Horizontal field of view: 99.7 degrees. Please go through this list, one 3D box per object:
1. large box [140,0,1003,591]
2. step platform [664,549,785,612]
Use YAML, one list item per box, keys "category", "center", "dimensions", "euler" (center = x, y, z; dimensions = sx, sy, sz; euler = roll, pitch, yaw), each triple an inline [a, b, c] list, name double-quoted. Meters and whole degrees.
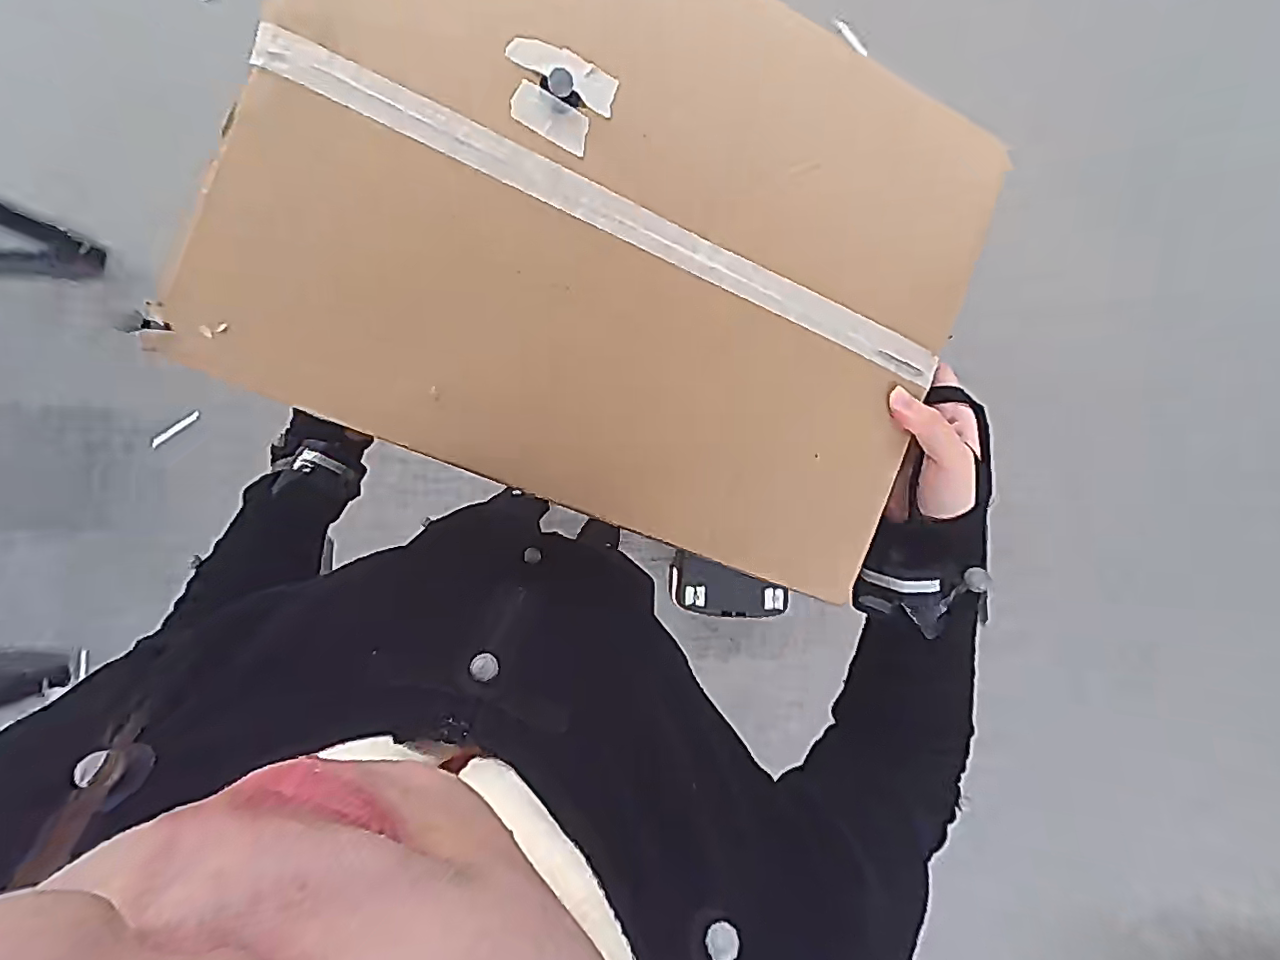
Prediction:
- category: "large box"
  center: [-0.033, -0.144, 0.441]
  dimensions: [0.408, 0.320, 0.320]
  euler: [20, 88, -11]
- category: "step platform"
  center: [0.255, -0.006, 1.408]
  dimensions: [0.286, 0.204, 0.684]
  euler: [9, 87, -1]
